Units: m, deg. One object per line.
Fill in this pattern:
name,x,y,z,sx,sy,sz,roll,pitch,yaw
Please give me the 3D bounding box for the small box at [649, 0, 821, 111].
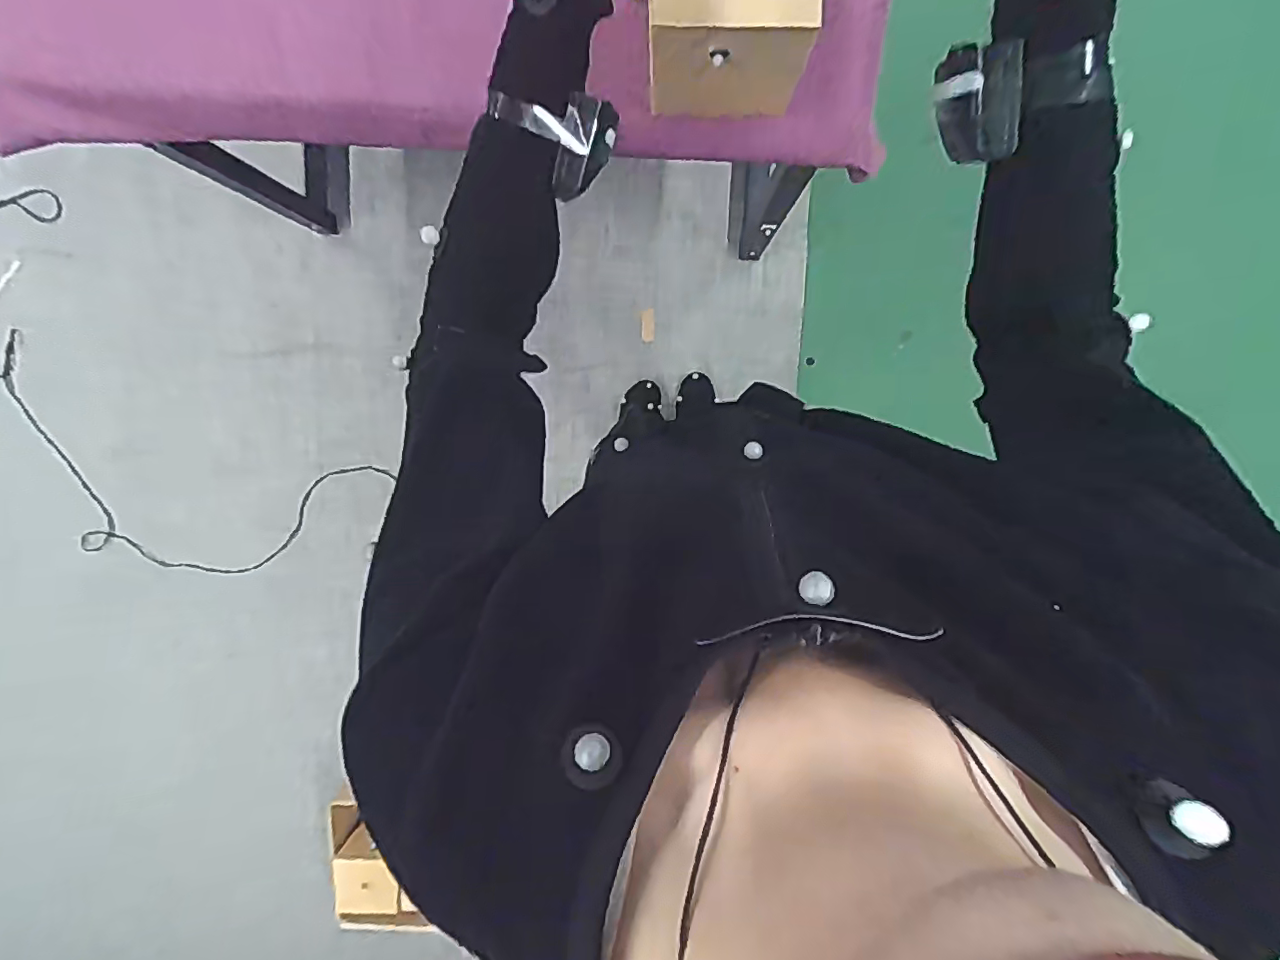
small box,0.102,-0.554,0.620,0.179,0.176,0.168,2,98,2
